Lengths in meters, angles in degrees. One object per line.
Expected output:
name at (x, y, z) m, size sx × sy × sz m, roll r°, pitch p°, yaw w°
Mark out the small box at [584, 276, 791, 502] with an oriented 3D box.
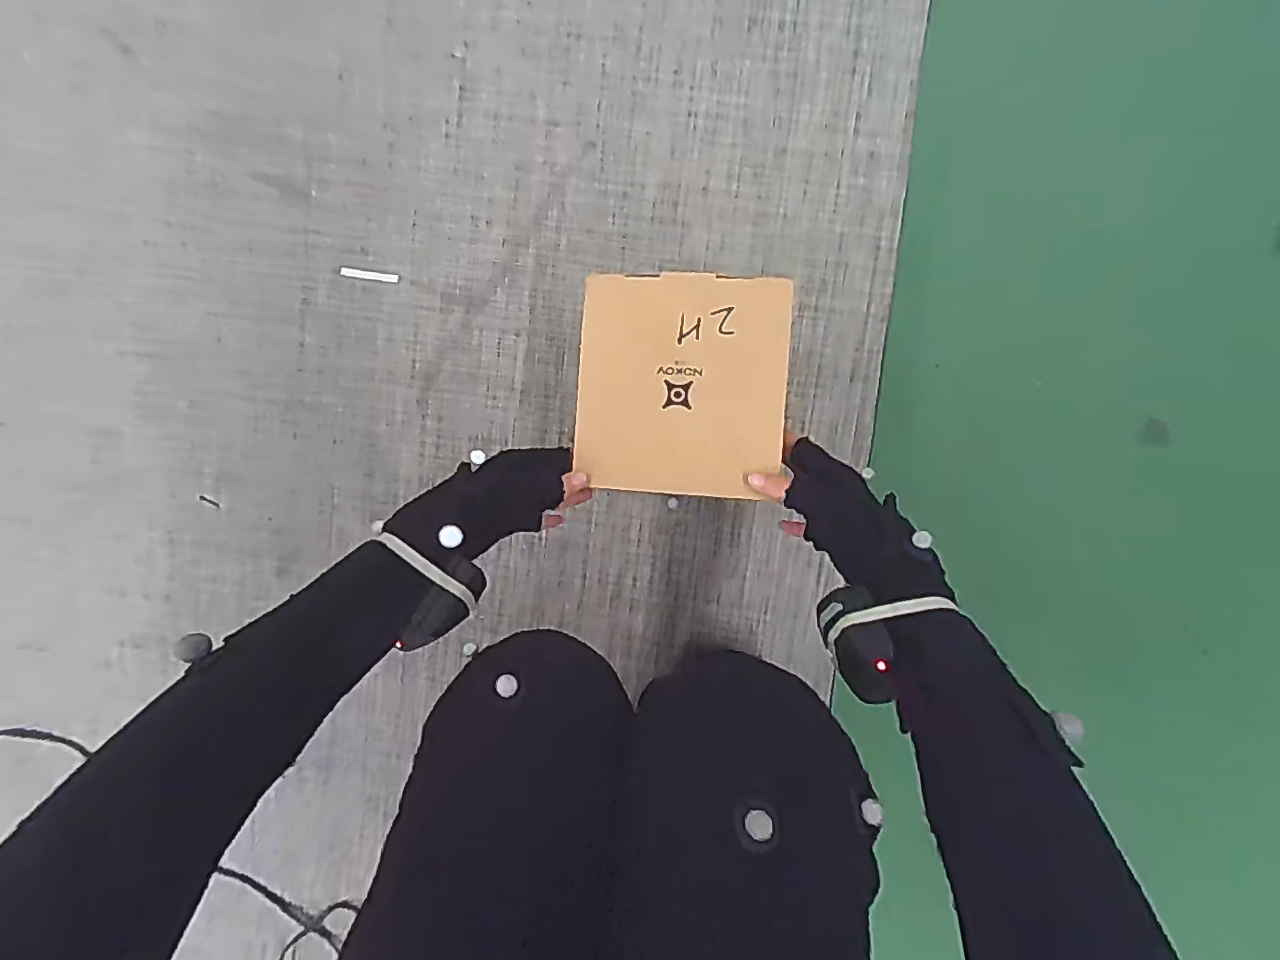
small box at (0.051, -0.075, 0.509) m, size 0.168 × 0.176 × 0.179 m, roll 1°, pitch 92°, yaw 11°
